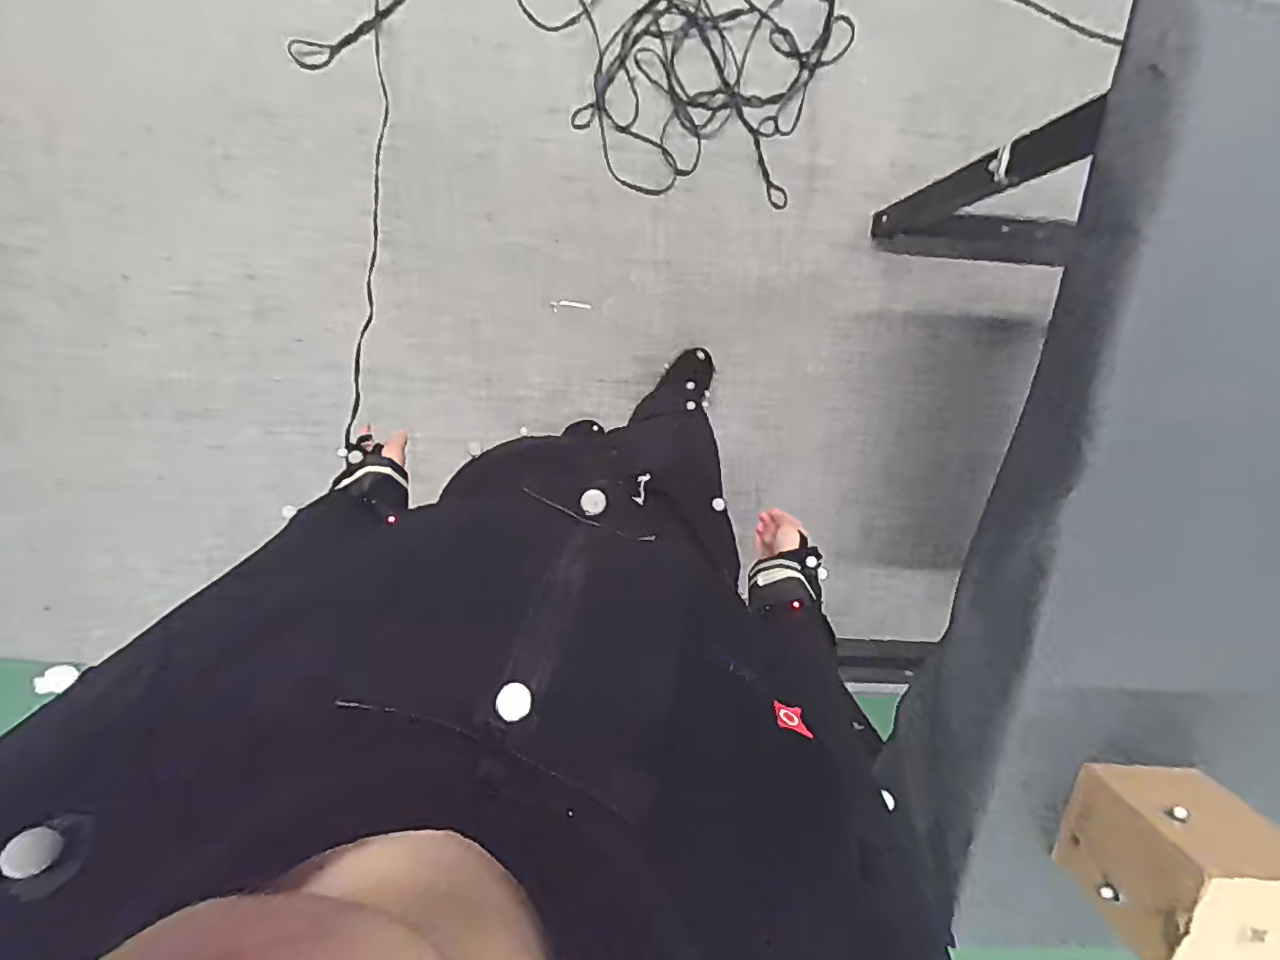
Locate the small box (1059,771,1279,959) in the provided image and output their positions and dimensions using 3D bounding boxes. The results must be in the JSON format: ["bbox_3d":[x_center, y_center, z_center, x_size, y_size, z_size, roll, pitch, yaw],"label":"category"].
[{"bbox_3d":[0.686,0.495,0.681,0.179,0.176,0.168,4,104,-5],"label":"small box"}]
